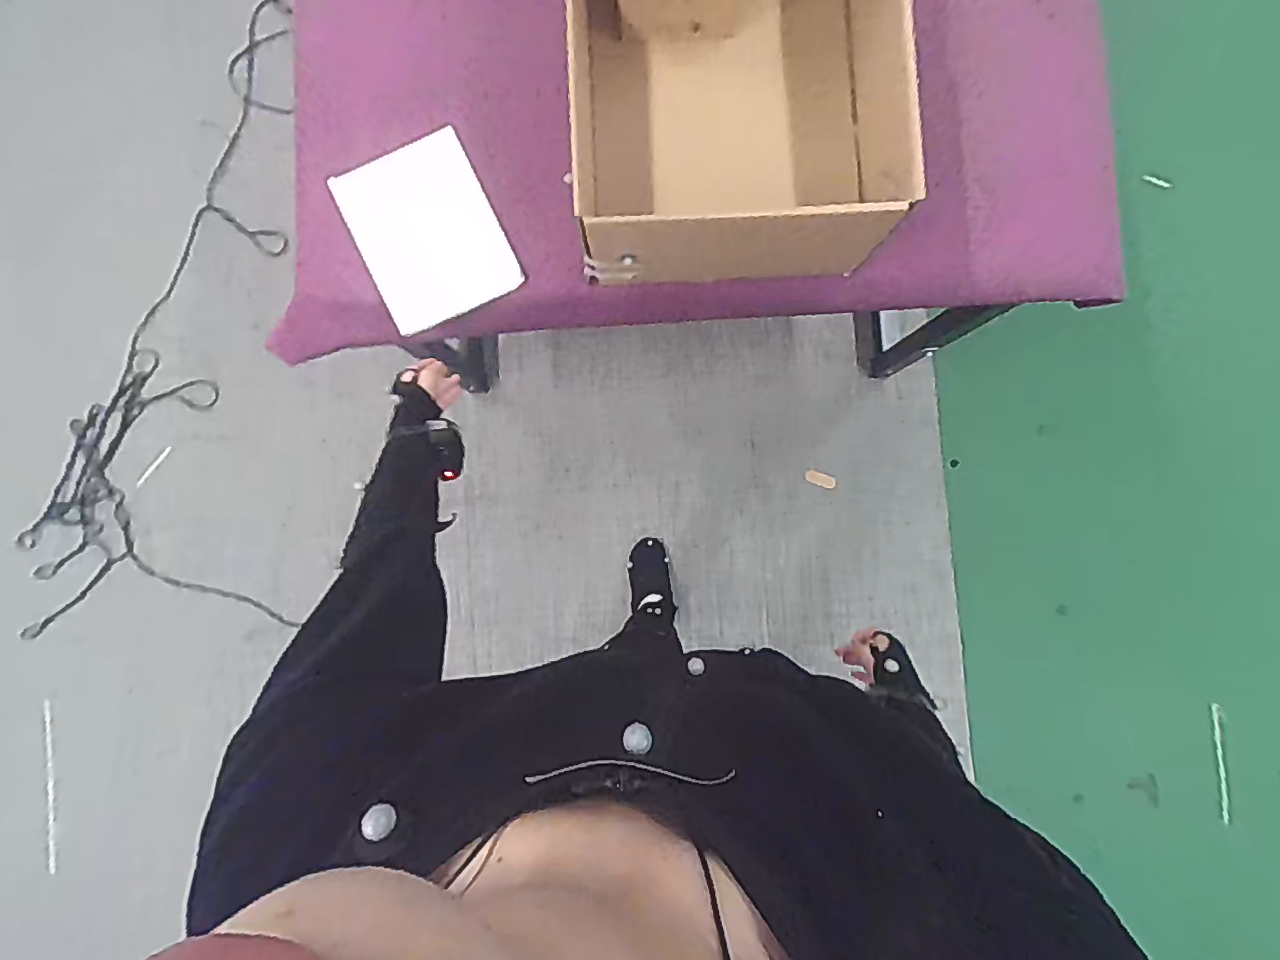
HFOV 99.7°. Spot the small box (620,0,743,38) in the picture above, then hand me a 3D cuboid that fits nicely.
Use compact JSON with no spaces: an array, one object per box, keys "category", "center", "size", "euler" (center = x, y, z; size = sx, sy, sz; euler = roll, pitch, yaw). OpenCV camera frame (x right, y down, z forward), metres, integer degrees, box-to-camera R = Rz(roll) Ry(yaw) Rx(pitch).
[{"category":"small box","center":[0.053,-0.708,0.689],"size":[0.168,0.176,0.179],"euler":[-2,88,1]}]
